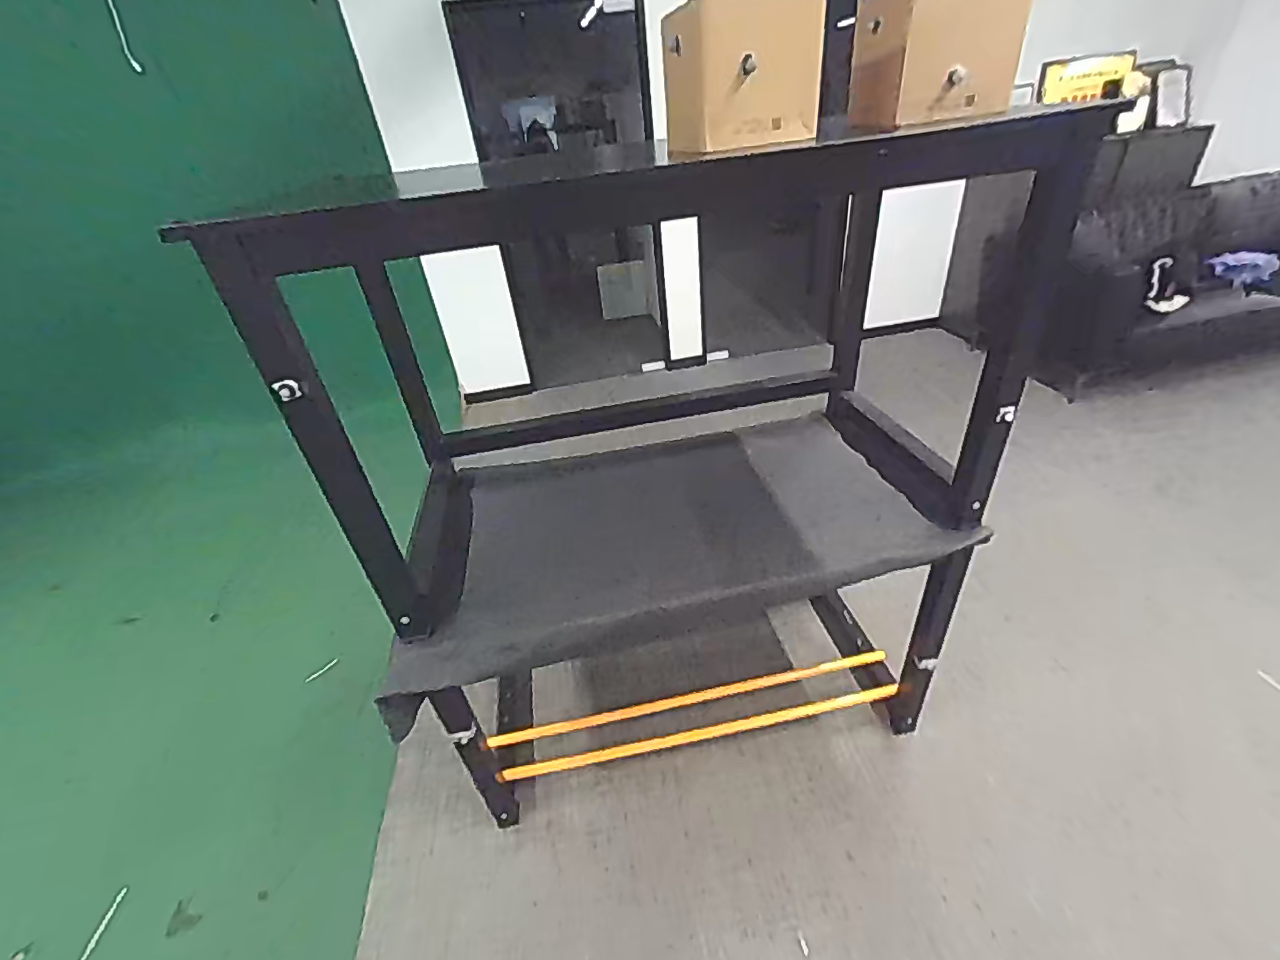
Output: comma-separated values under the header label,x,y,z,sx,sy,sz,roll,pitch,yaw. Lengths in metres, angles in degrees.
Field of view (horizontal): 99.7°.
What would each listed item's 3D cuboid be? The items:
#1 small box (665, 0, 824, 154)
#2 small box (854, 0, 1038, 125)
label,x,y,z,sx,sy,sz,roll,pitch,yaw
small box,0.142,-0.566,0.758,0.168,0.176,0.179,-13,34,-9
small box,0.429,-0.623,0.786,0.168,0.176,0.179,-8,35,0
